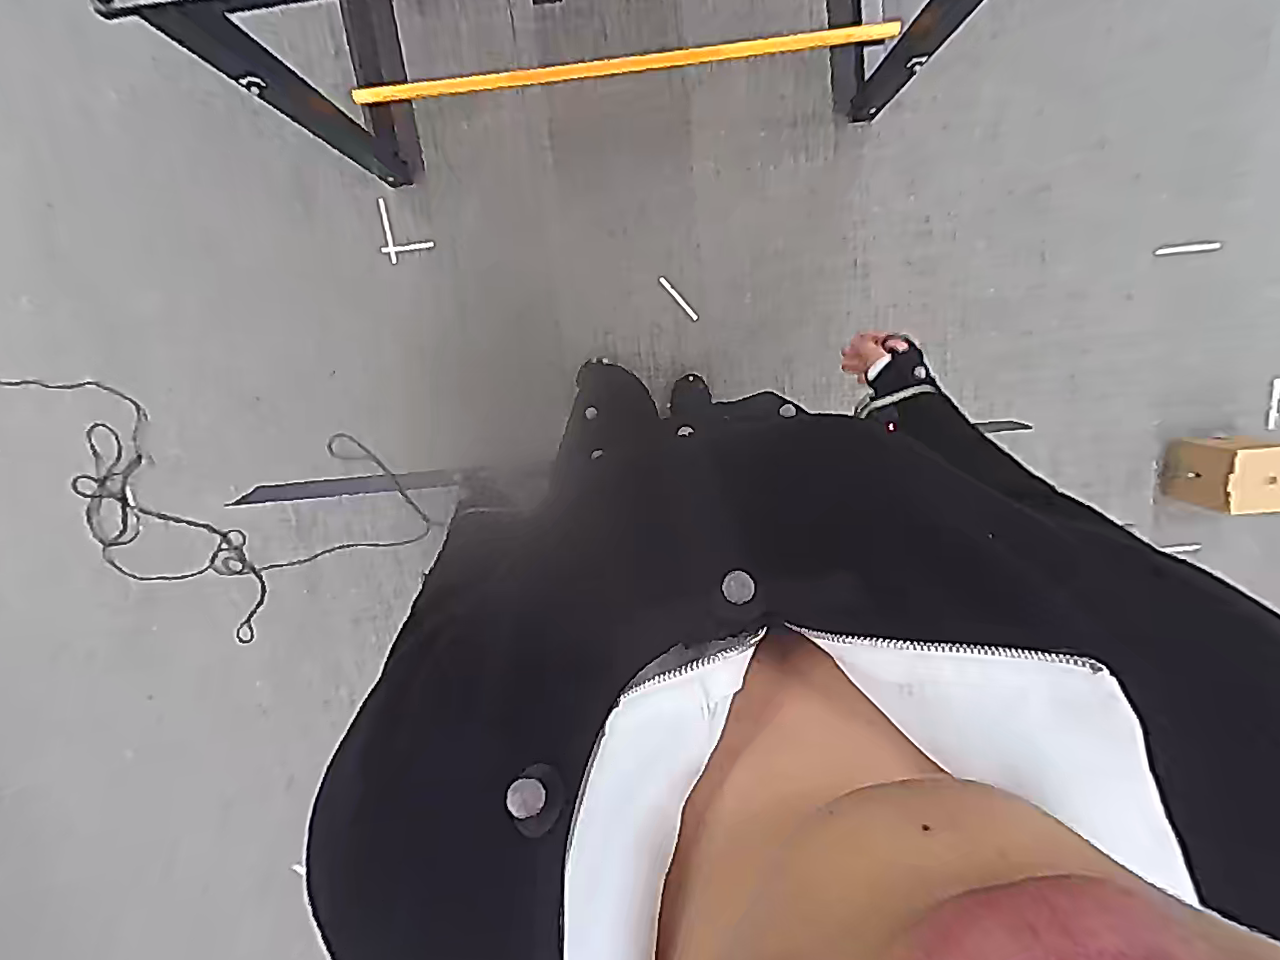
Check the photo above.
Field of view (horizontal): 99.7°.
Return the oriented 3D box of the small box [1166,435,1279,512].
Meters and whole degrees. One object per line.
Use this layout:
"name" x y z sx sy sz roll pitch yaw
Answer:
"small box" 1.517 -0.021 1.388 0.179 0.176 0.168 -4 103 3
